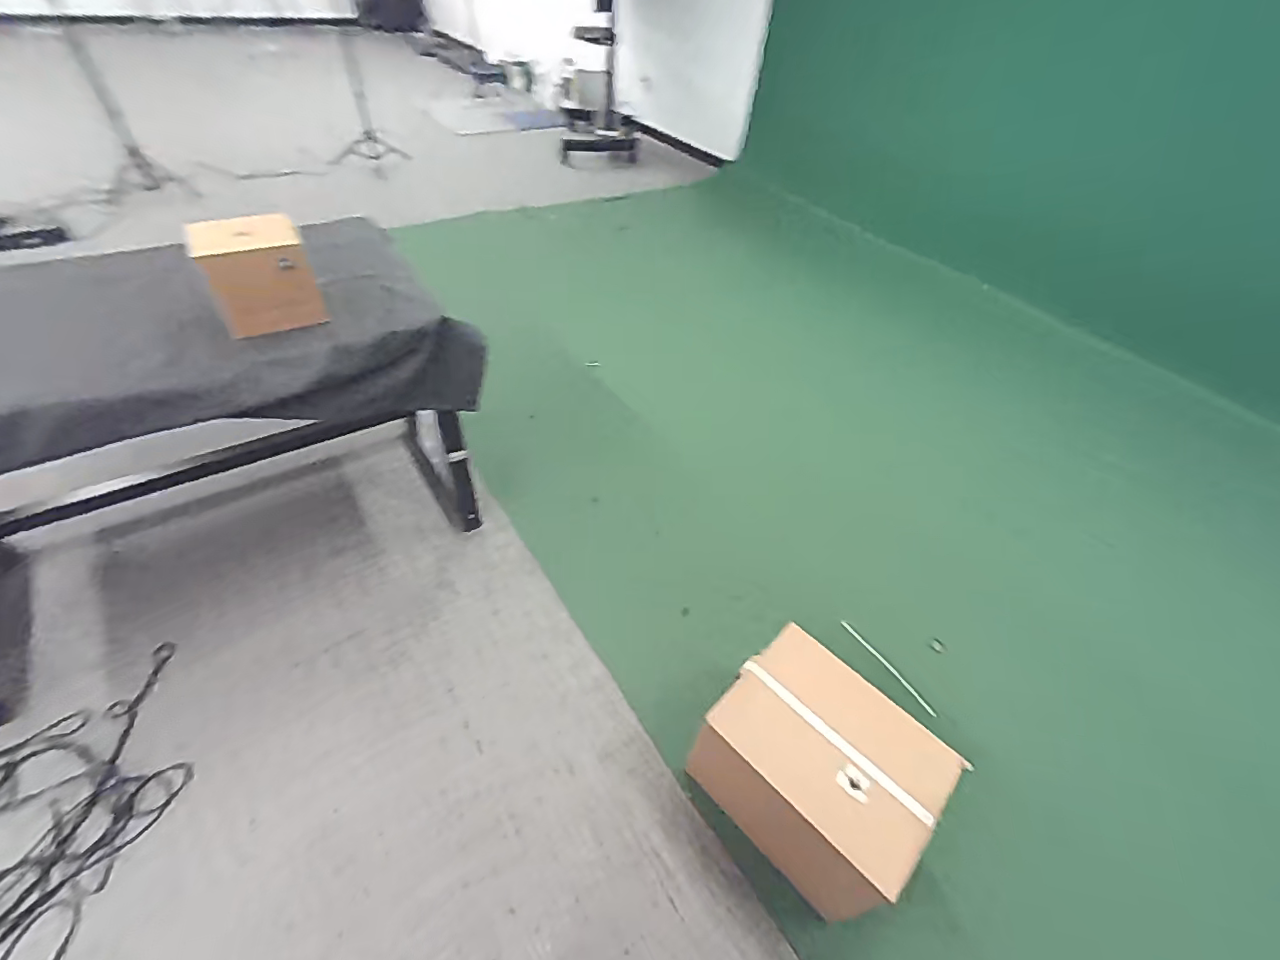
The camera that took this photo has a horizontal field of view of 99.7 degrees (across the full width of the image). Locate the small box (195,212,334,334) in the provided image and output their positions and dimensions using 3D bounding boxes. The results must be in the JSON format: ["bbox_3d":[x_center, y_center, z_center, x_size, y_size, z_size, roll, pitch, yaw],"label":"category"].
[{"bbox_3d":[-0.749,-0.415,1.087,0.179,0.176,0.168,-22,51,-24],"label":"small box"}]
